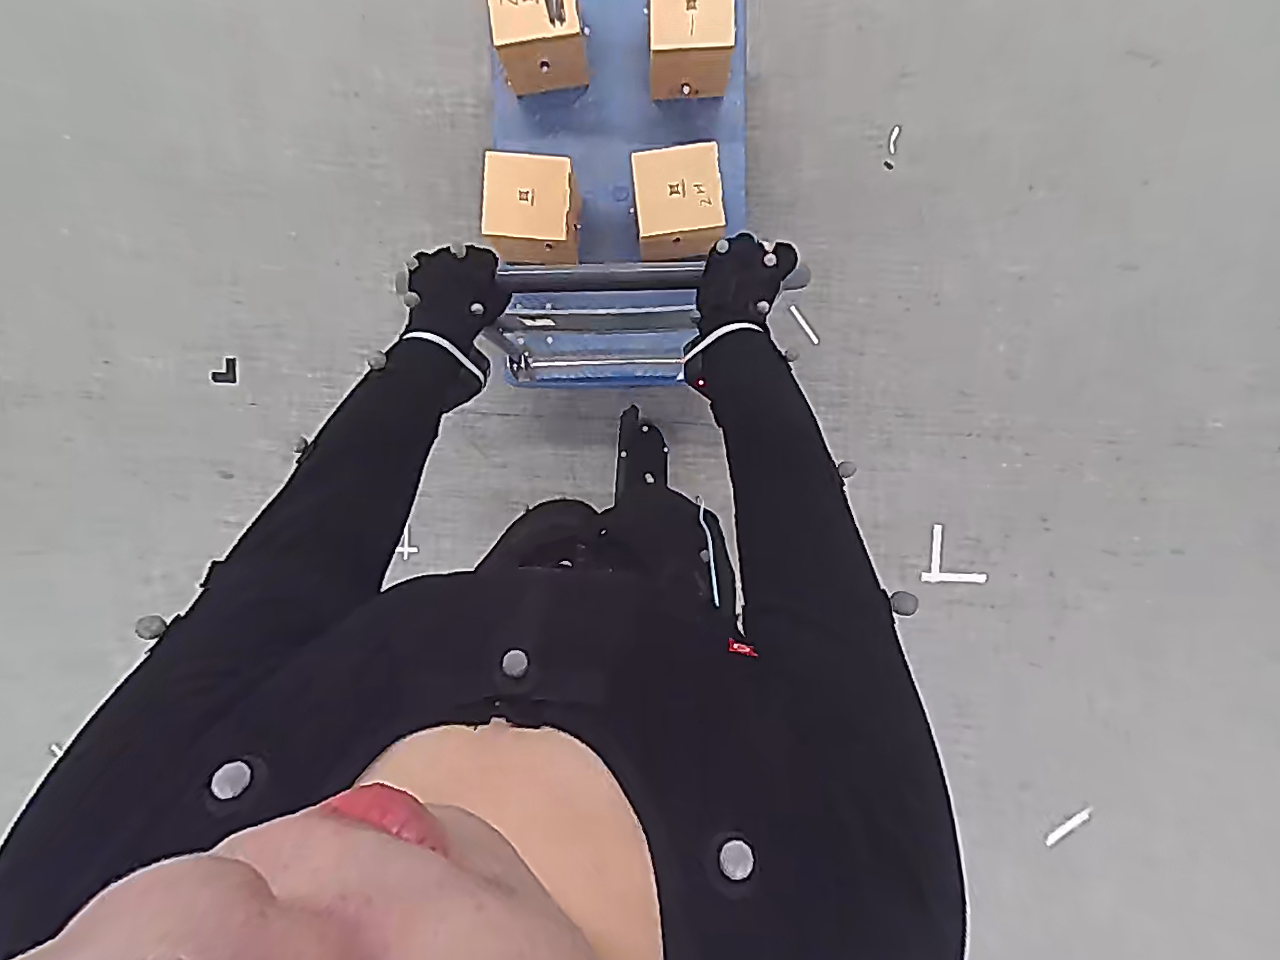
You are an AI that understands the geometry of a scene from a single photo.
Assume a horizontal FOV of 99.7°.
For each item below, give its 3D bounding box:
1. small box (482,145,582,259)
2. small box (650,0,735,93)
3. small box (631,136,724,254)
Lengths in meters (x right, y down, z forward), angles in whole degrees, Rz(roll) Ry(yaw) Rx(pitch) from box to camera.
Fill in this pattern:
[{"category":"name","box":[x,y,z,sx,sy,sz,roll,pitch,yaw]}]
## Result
[{"category":"small box","box":[-0.228,-0.593,1.174,0.179,0.176,0.168,4,95,0]},{"category":"small box","box":[0.104,-0.951,1.129,0.168,0.176,0.179,-1,97,2]},{"category":"small box","box":[0.079,-0.602,1.163,0.179,0.176,0.168,-6,95,2]}]
